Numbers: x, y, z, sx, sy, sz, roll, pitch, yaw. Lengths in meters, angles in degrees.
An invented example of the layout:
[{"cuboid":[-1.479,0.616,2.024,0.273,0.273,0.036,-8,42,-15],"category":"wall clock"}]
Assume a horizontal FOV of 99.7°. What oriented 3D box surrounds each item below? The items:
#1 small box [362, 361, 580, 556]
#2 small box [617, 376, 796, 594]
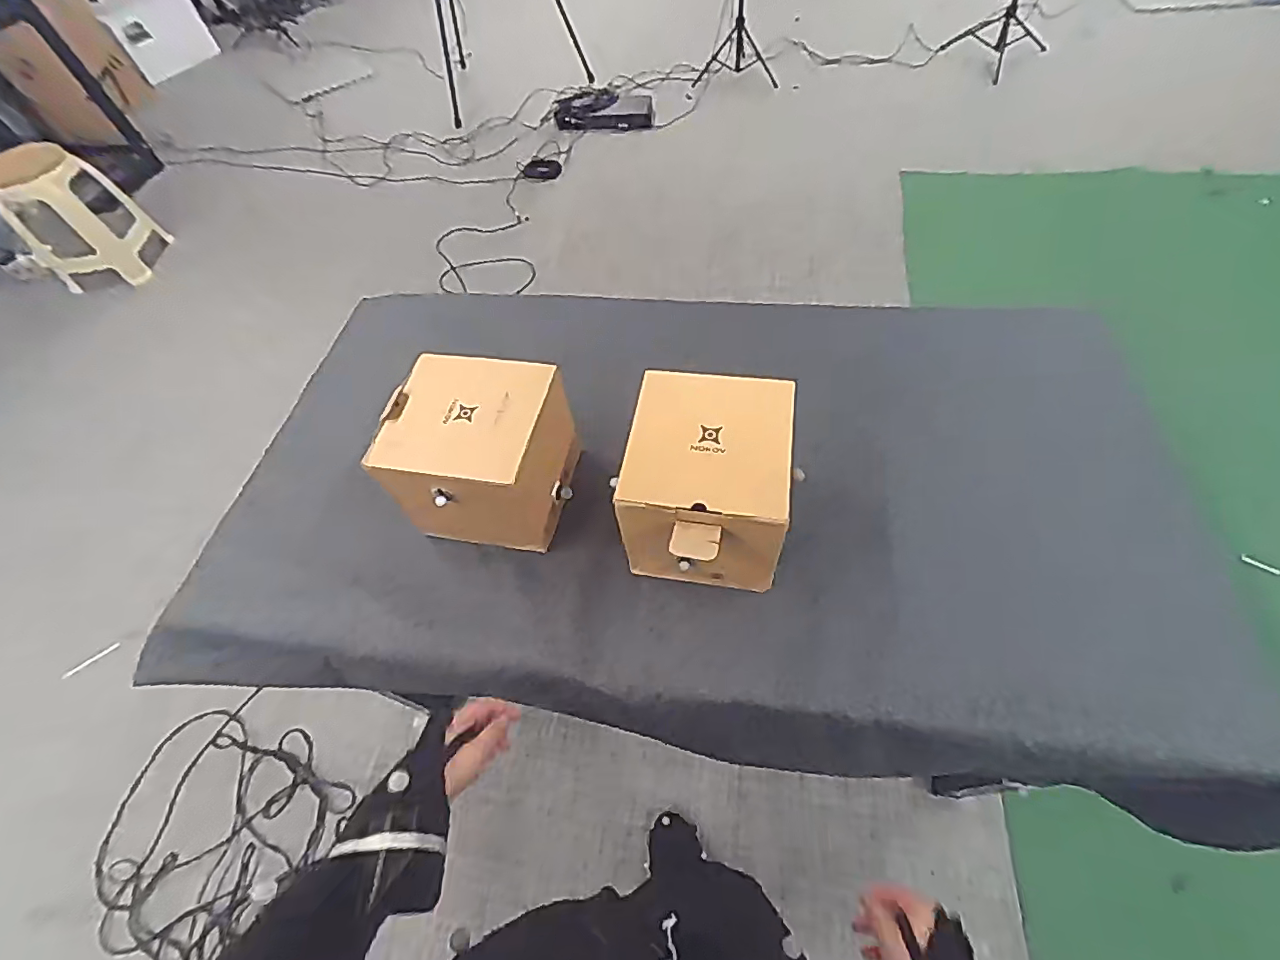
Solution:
[{"cuboid":[-0.187,-0.021,0.660,0.179,0.176,0.168,8,58,10],"category":"small box"},{"cuboid":[0.077,0.009,0.614,0.168,0.176,0.179,6,58,9],"category":"small box"}]
